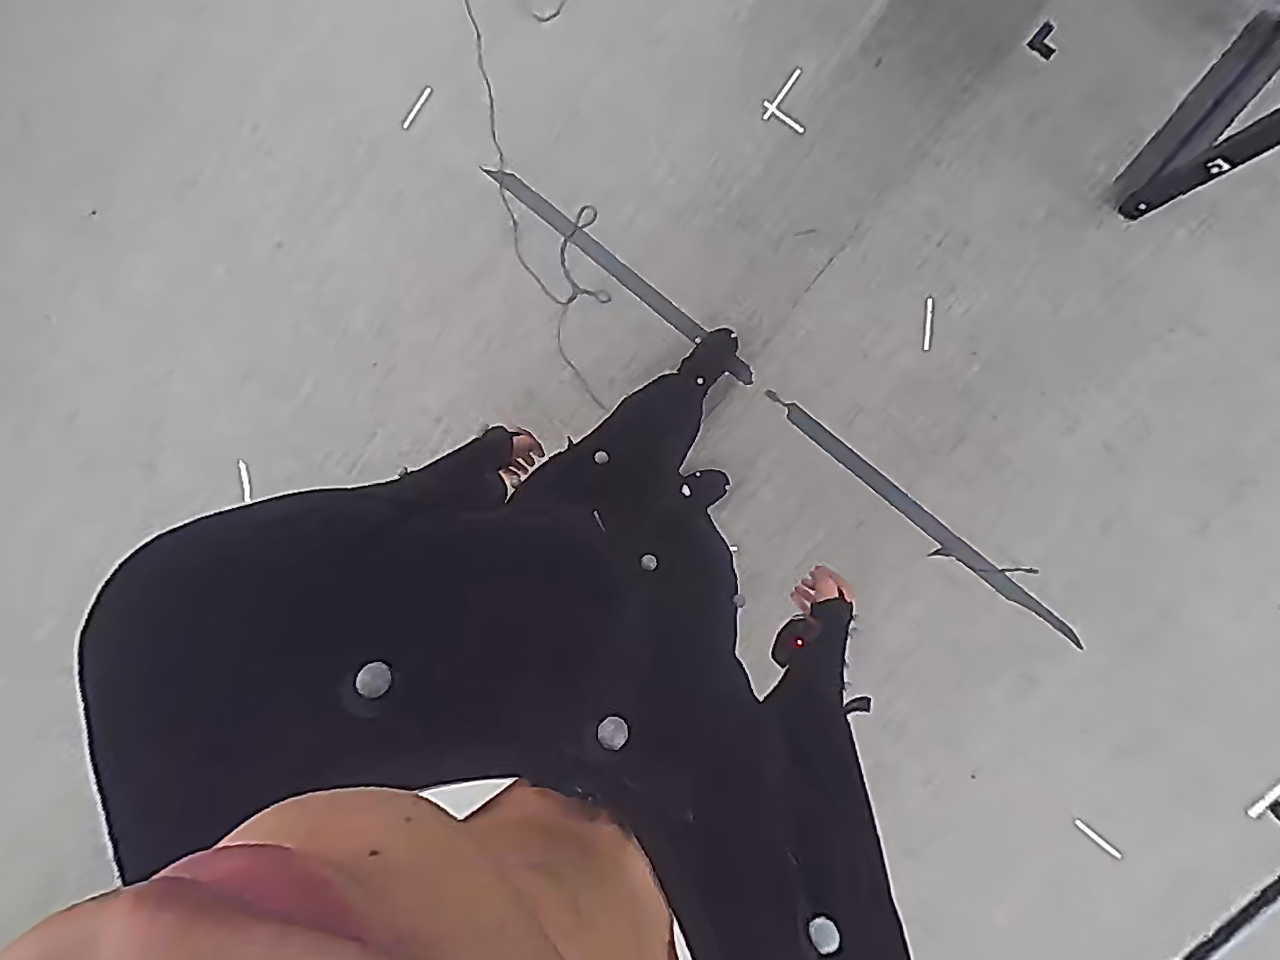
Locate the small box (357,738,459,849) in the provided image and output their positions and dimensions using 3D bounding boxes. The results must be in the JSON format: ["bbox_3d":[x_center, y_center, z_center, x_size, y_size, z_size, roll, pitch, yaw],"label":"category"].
[{"bbox_3d":[-0.659,0.895,1.558,0.168,0.176,0.179,43,99,2],"label":"small box"}]

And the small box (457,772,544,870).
[{"bbox_3d":[-0.435,1.064,1.710,0.179,0.176,0.168,40,99,1],"label":"small box"}]
